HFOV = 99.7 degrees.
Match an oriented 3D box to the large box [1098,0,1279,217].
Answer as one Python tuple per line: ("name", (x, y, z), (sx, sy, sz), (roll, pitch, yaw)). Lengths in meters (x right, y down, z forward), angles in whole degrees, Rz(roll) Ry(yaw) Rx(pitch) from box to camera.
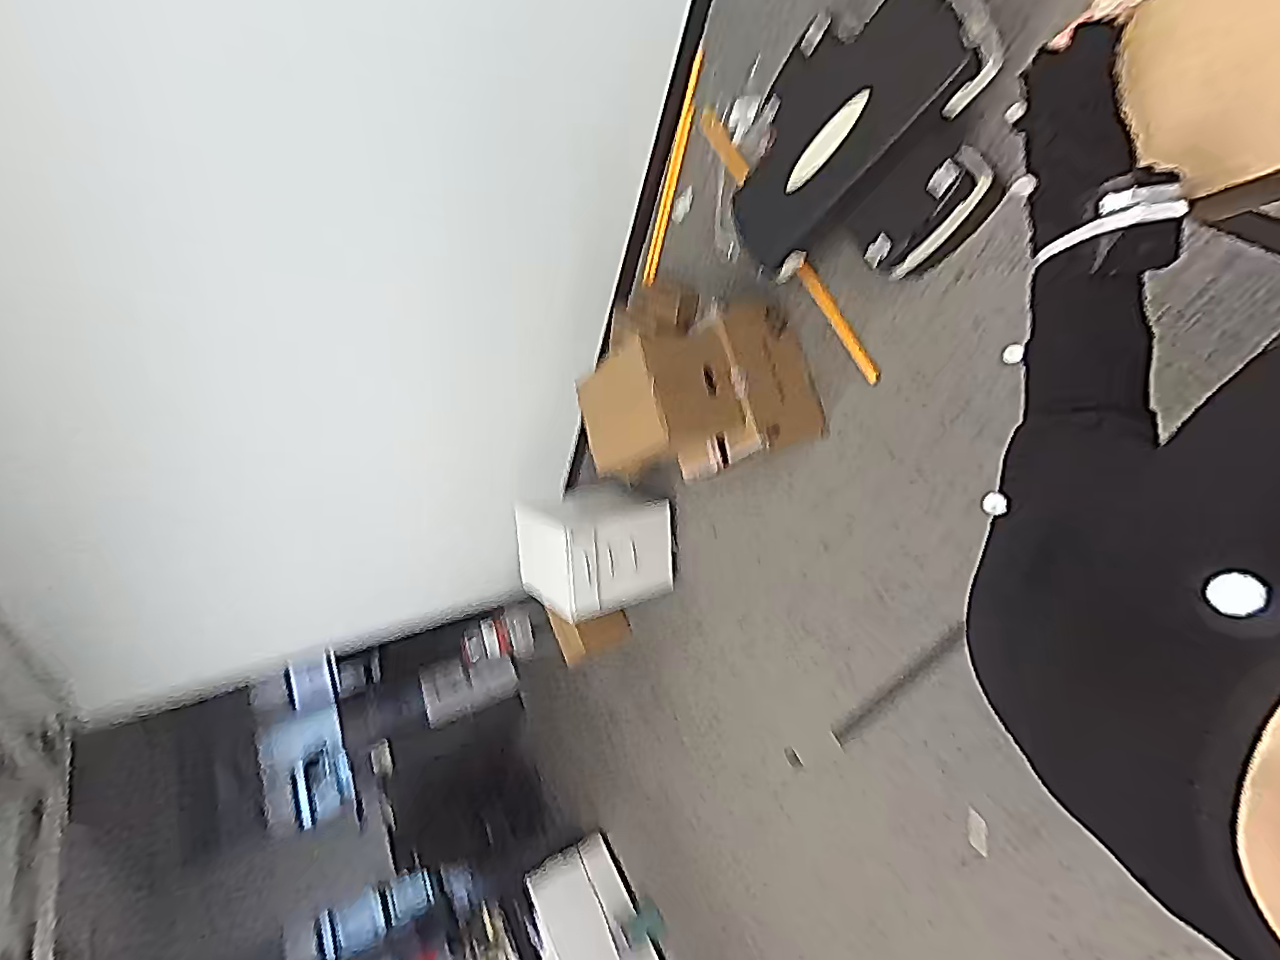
("large box", (0.574, -0.407, 0.330), (0.408, 0.320, 0.320), (-6, 100, 55))
